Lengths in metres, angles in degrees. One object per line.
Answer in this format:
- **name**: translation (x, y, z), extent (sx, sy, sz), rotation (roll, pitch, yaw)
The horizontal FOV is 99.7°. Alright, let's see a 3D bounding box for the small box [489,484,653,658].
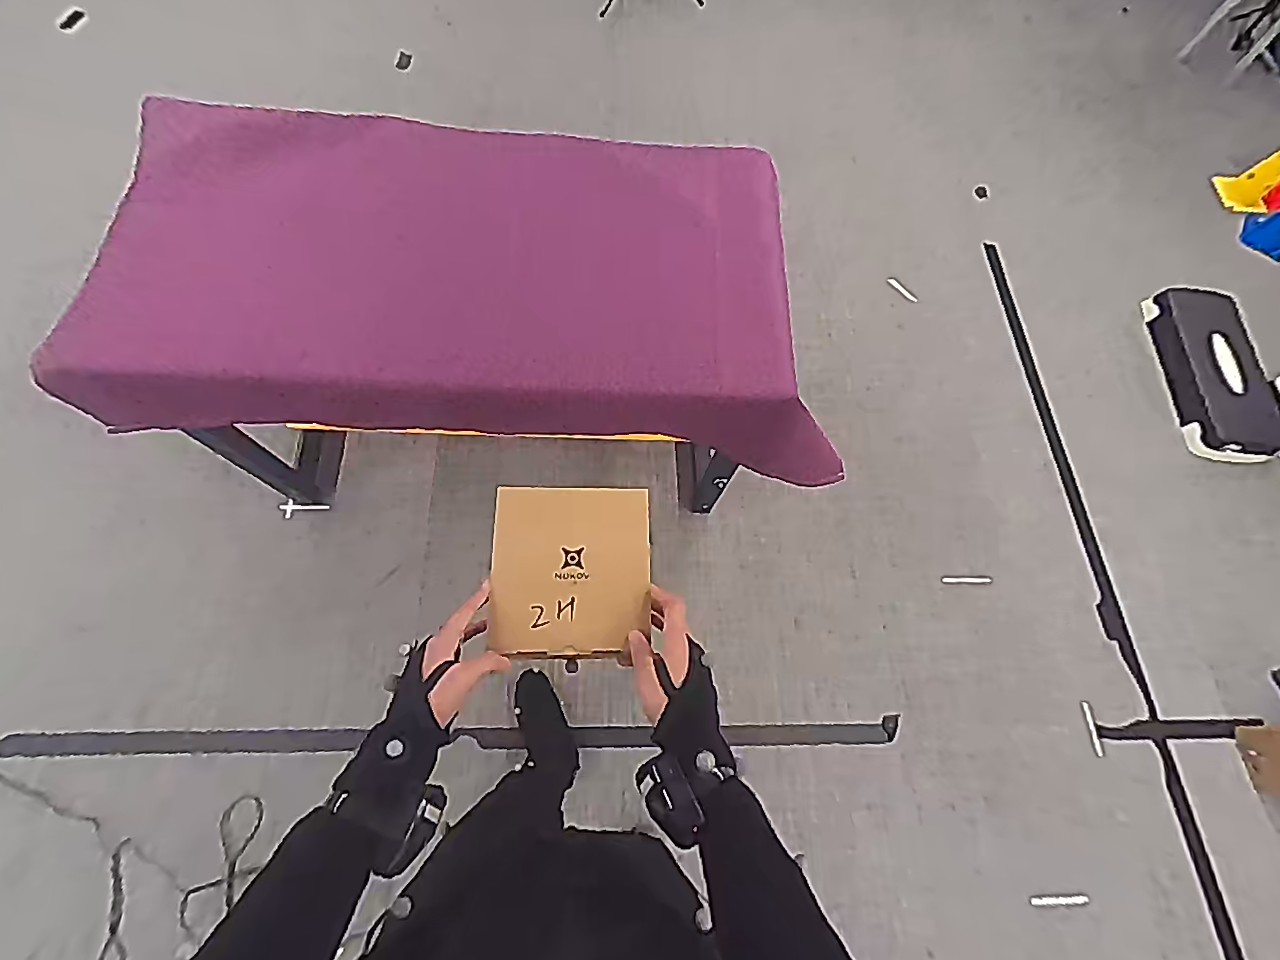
- **small box**: translation (-0.075, 0.115, 0.643), extent (0.168, 0.176, 0.179), rotation (1, 70, -4)
